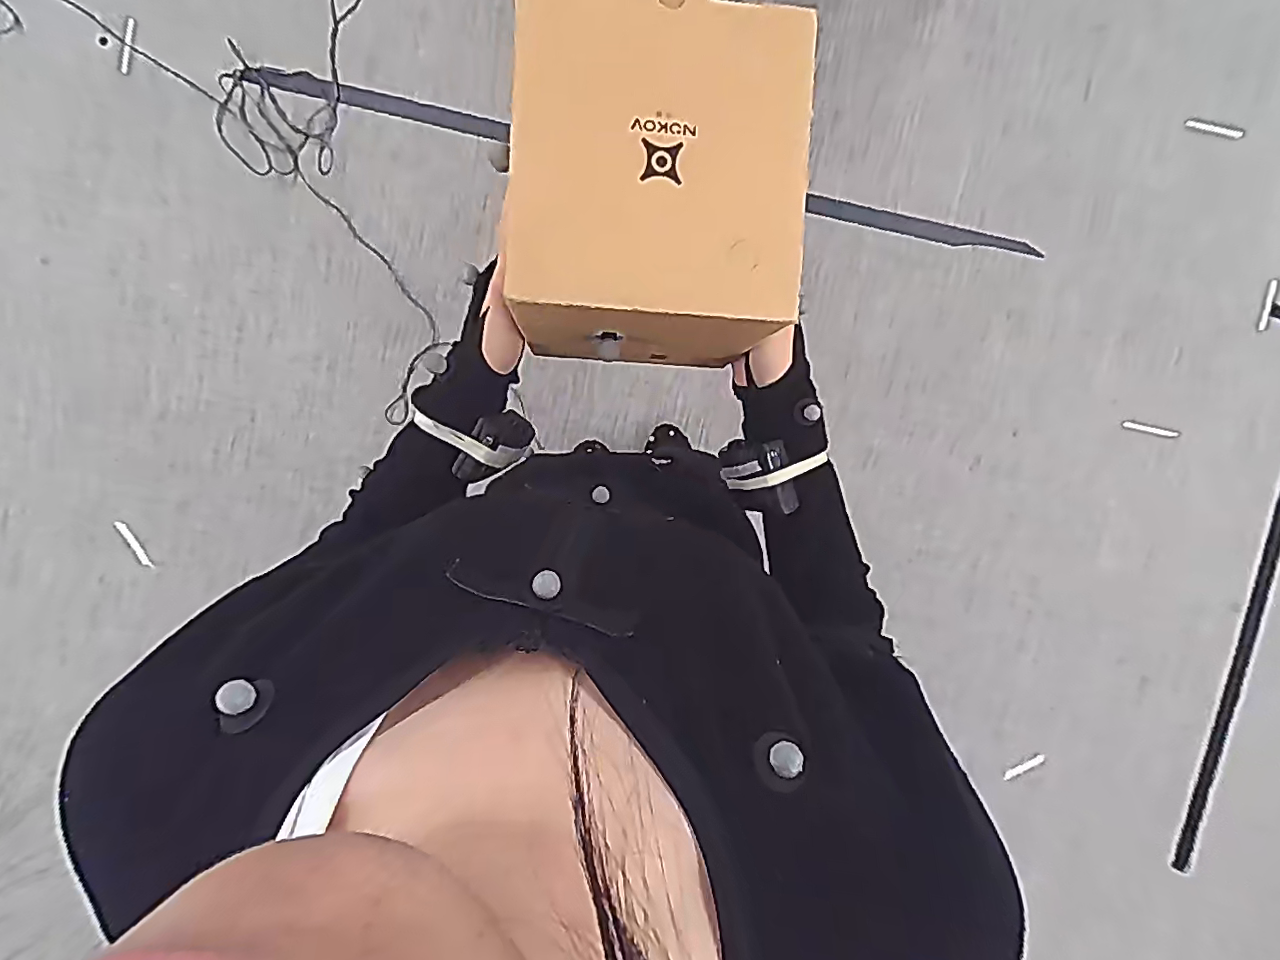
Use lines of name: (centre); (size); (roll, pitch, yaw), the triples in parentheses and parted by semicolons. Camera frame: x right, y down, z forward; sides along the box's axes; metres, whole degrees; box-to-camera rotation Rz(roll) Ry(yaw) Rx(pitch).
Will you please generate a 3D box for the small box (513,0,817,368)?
small box: (0.008, -0.181, 0.383); (0.168, 0.176, 0.179); (2, 91, -6)
